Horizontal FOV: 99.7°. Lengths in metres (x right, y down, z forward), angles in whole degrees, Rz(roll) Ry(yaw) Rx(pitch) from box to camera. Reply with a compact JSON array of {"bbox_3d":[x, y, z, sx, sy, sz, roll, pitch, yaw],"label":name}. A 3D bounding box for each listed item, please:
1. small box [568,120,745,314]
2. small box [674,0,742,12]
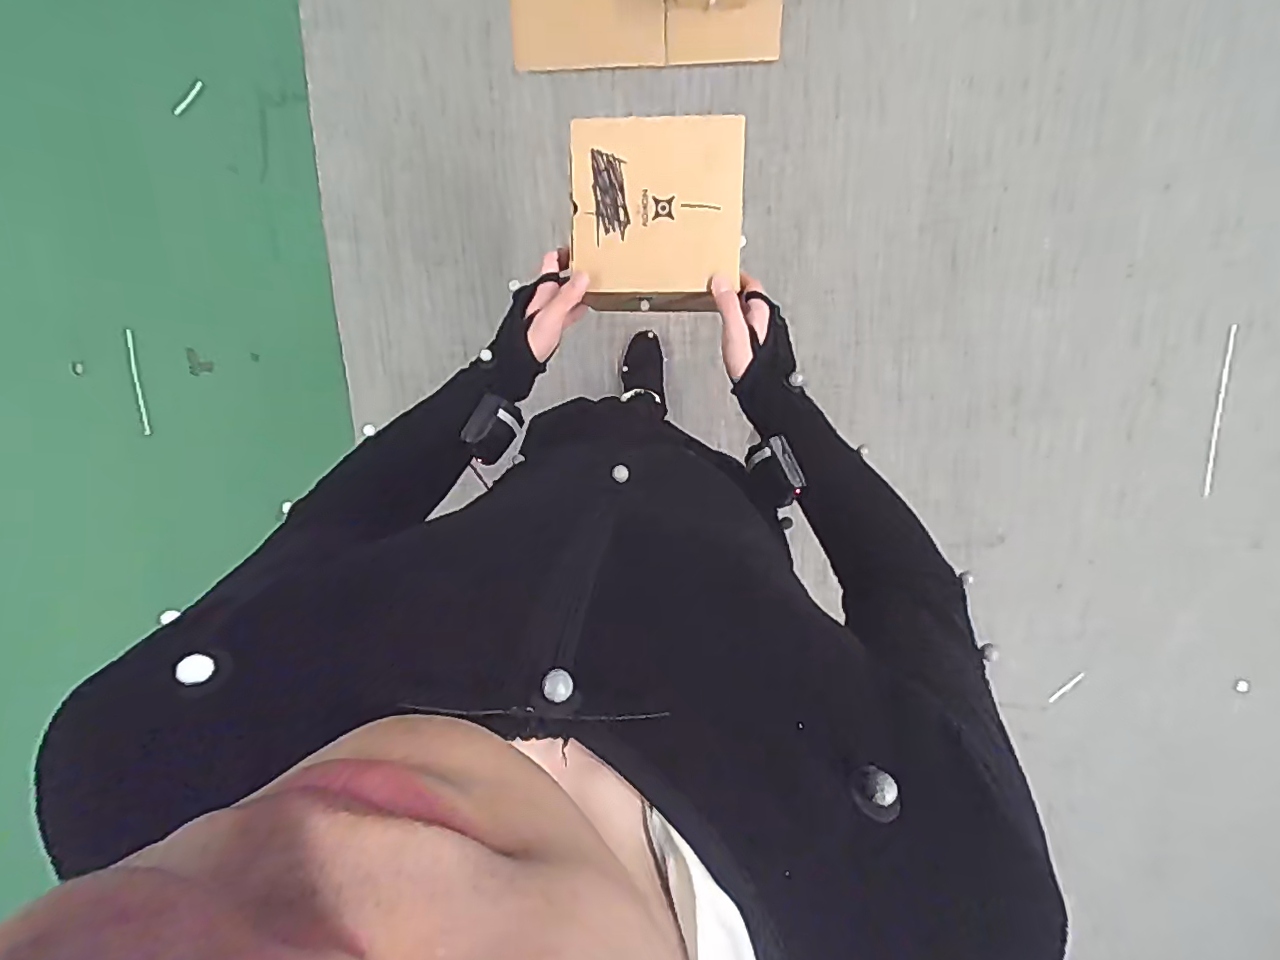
[{"bbox_3d":[0.020,-0.287,0.623,0.179,0.176,0.168,2,101,3],"label":"small box"},{"bbox_3d":[0.175,-1.256,1.281,0.179,0.176,0.168,2,101,2],"label":"small box"}]
